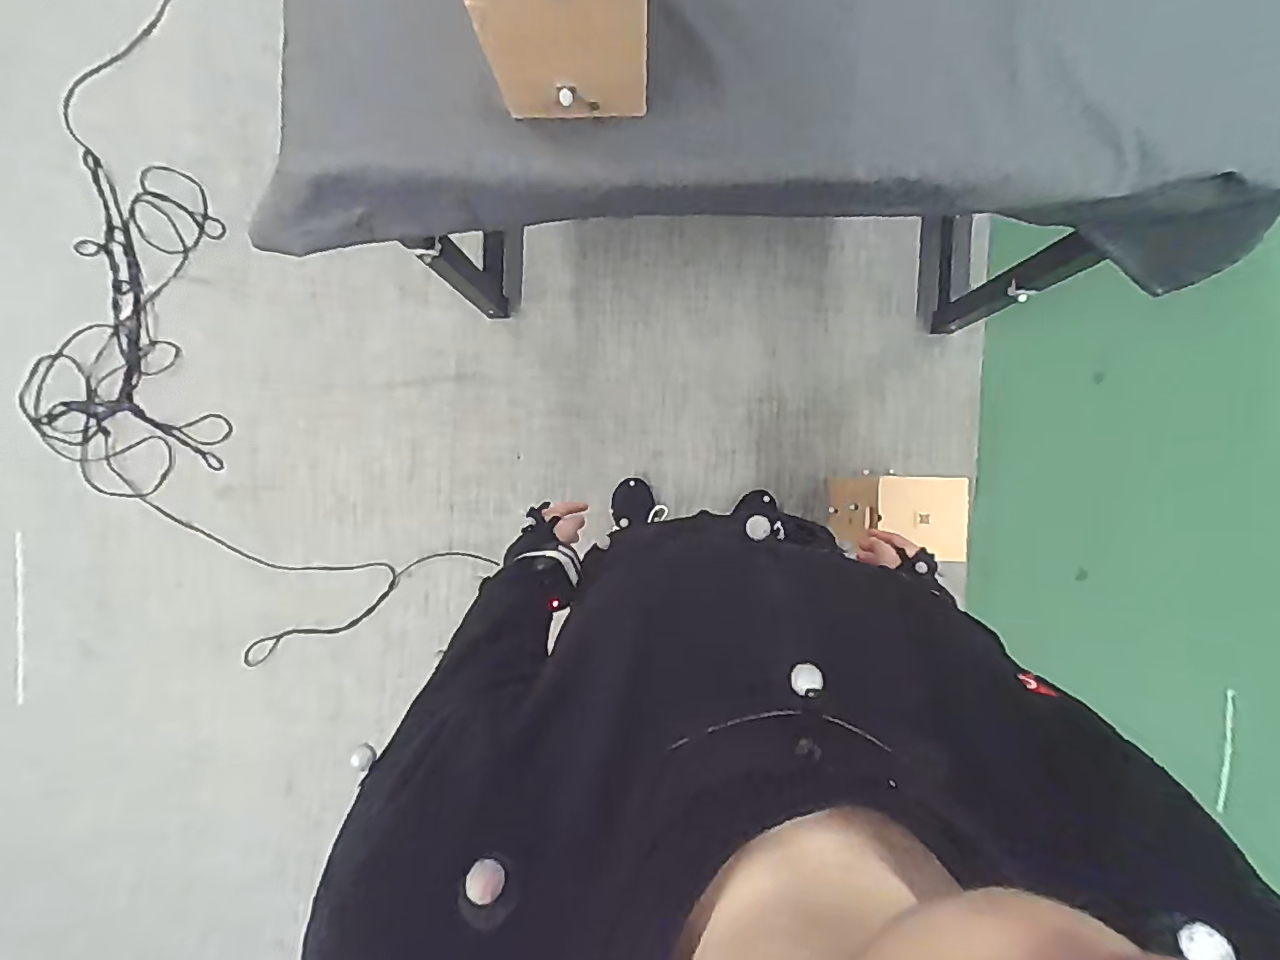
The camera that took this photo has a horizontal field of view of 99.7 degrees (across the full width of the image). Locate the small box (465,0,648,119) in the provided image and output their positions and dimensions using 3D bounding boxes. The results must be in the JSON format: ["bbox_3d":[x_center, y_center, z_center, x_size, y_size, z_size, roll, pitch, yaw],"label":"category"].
[{"bbox_3d":[-0.078,-0.519,0.565,0.168,0.176,0.179,0,92,3],"label":"small box"}]

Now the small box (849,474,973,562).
[{"bbox_3d":[0.550,0.072,1.115,0.179,0.176,0.168,0,91,3],"label":"small box"}]
